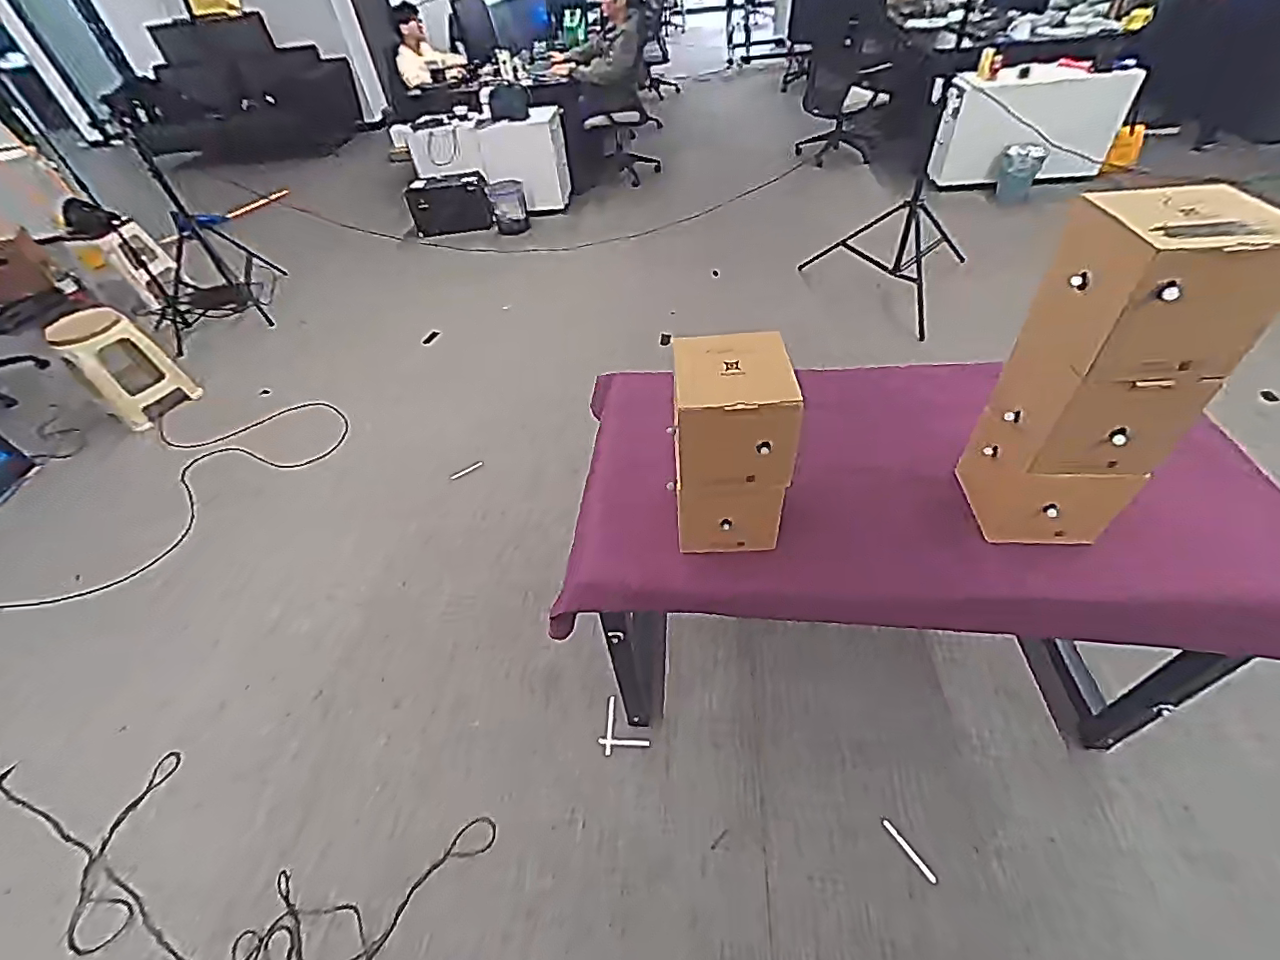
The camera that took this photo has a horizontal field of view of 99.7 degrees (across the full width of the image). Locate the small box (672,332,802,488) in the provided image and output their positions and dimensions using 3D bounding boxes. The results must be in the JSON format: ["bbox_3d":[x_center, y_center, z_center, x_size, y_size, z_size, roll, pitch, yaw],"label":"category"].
[{"bbox_3d":[0.137,-0.100,0.819,0.168,0.176,0.179,-3,45,2],"label":"small box"}]

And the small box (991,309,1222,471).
[{"bbox_3d":[0.652,-0.126,0.787,0.168,0.176,0.179,0,46,8],"label":"small box"}]

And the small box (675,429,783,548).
[{"bbox_3d":[0.148,0.007,0.941,0.168,0.176,0.179,-2,45,3],"label":"small box"}]

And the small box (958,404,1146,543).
[{"bbox_3d":[0.666,-0.010,0.902,0.168,0.176,0.179,0,46,7],"label":"small box"}]
